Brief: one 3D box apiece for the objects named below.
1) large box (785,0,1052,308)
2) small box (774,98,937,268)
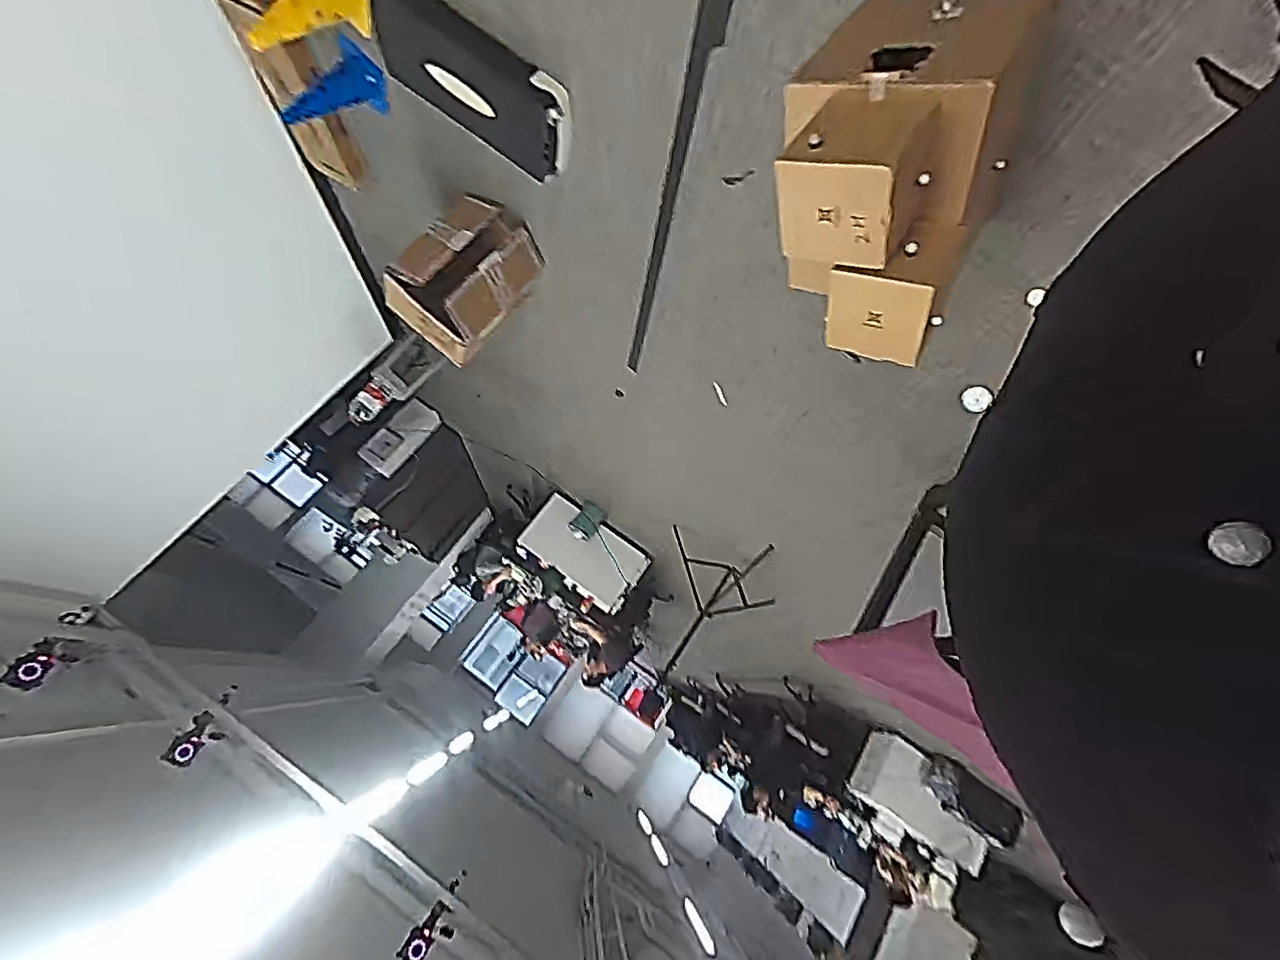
[{"bbox_3d":[0.491,-0.601,1.001,0.320,0.320,0.408,25,158,31],"label":"large box"},{"bbox_3d":[0.331,-0.464,0.843,0.179,0.176,0.168,23,157,31],"label":"small box"}]
